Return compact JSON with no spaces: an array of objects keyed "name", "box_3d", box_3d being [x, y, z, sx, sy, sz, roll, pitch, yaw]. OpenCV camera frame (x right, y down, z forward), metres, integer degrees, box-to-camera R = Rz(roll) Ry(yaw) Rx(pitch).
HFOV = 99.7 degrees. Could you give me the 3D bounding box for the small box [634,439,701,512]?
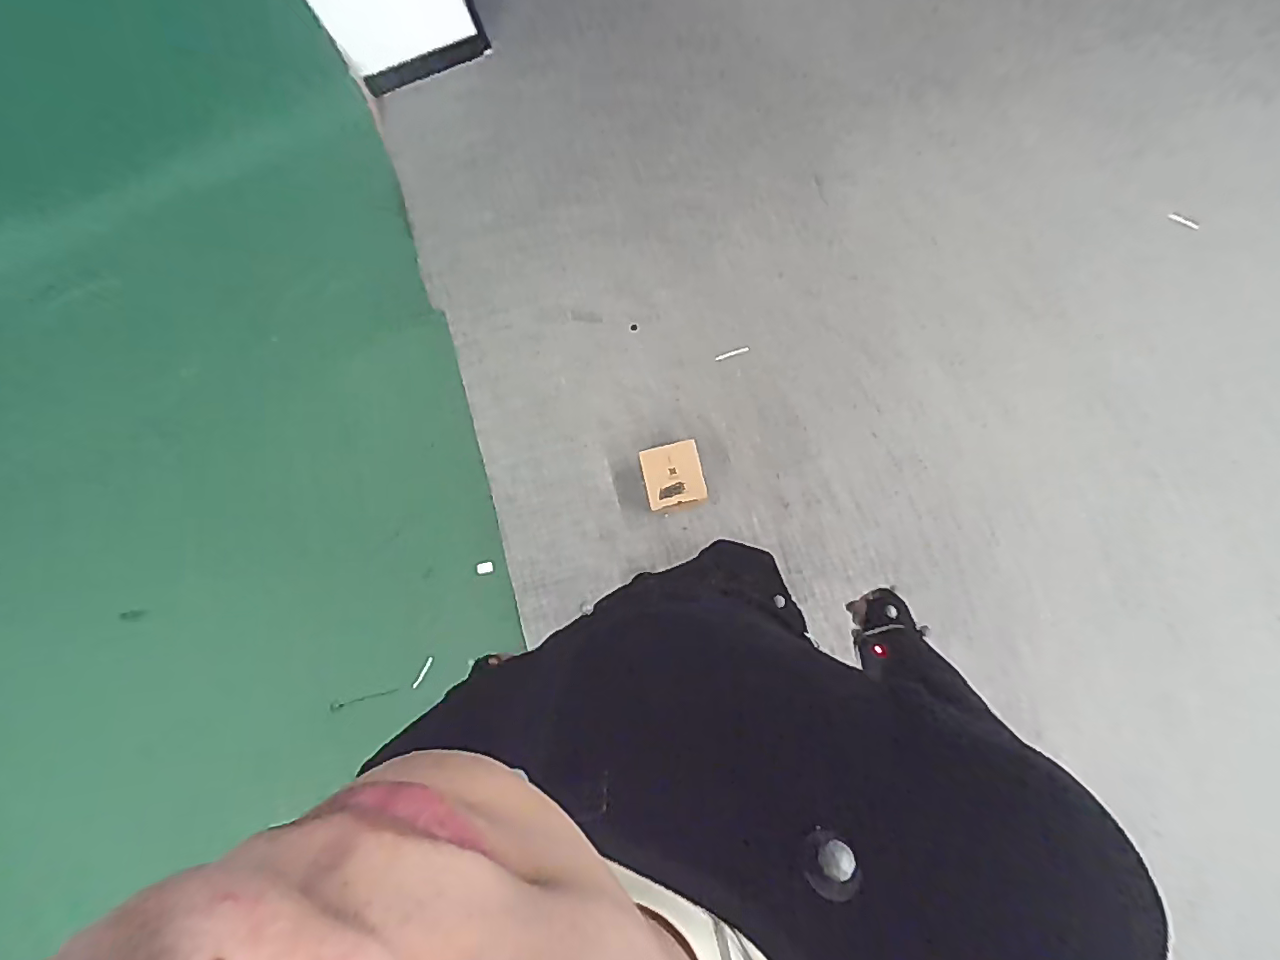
[{"name":"small box","box_3d":[0.086,-0.005,1.595,0.168,0.176,0.179,-12,79,3]}]
